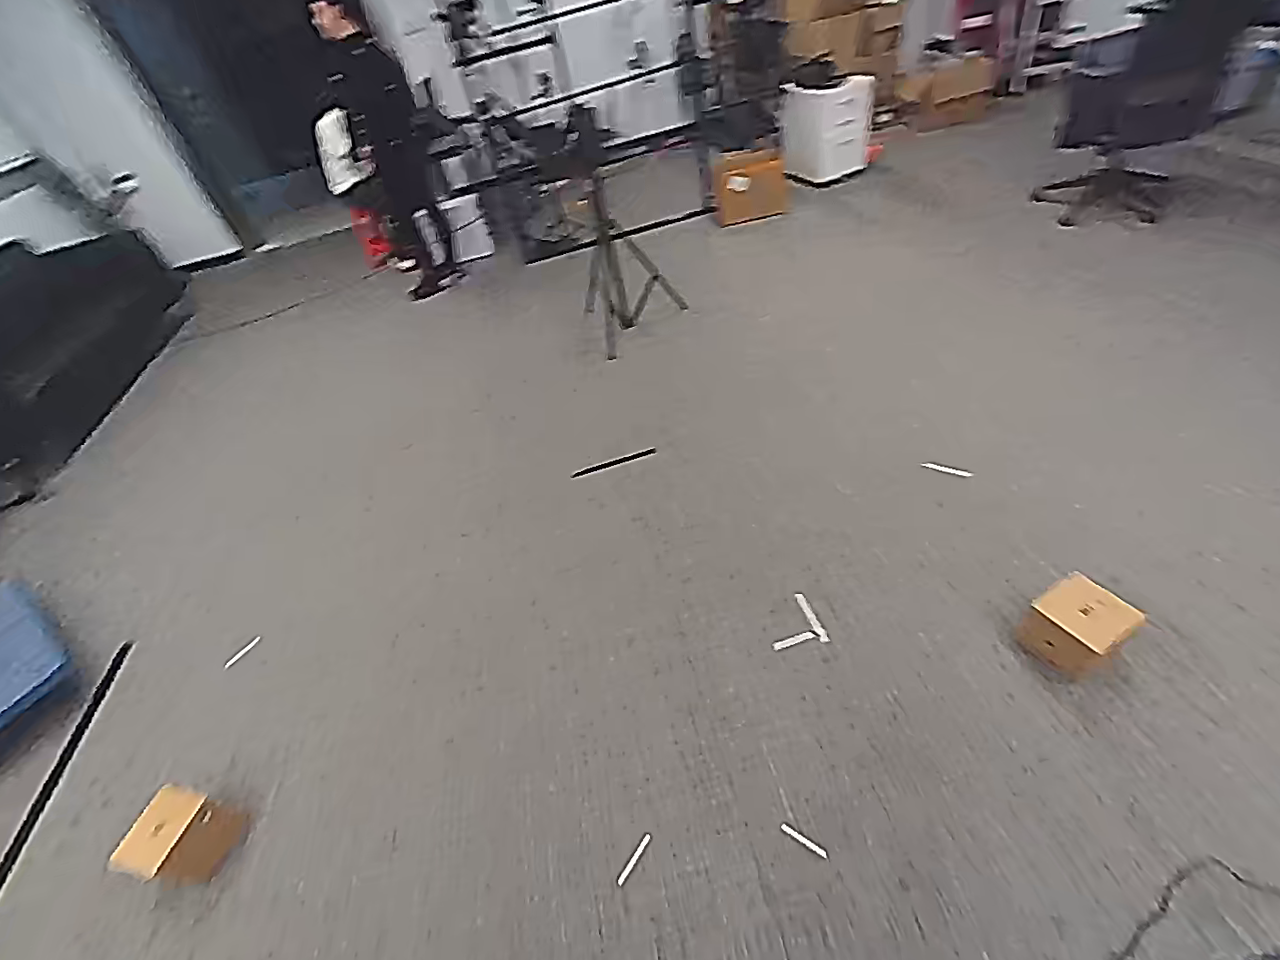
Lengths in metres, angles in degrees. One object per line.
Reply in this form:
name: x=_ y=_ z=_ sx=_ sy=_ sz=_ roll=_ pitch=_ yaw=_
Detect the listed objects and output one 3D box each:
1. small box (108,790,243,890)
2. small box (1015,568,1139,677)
small box: x=-1.211 y=0.952 z=1.426 sx=0.168 sy=0.176 sz=0.179 roll=0 pitch=45 yaw=16
small box: x=1.104 y=0.368 z=1.386 sx=0.179 sy=0.176 sz=0.168 roll=-28 pitch=45 yaw=-14
